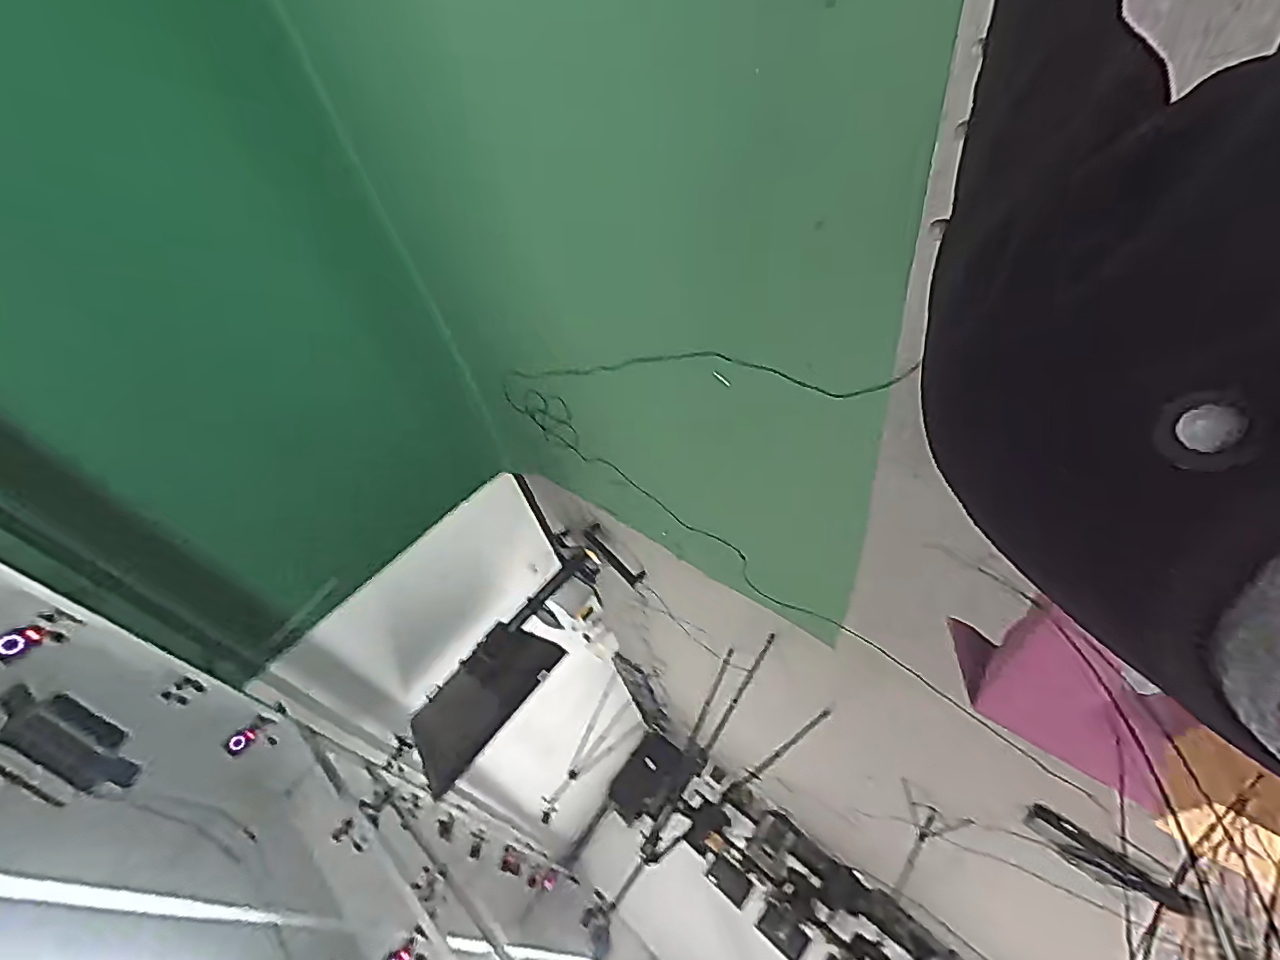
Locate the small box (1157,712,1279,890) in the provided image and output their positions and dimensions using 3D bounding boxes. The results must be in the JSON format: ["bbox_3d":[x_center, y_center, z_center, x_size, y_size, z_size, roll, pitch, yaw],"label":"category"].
[{"bbox_3d":[0.977,0.500,0.851,0.168,0.176,0.179,28,150,31],"label":"small box"}]
